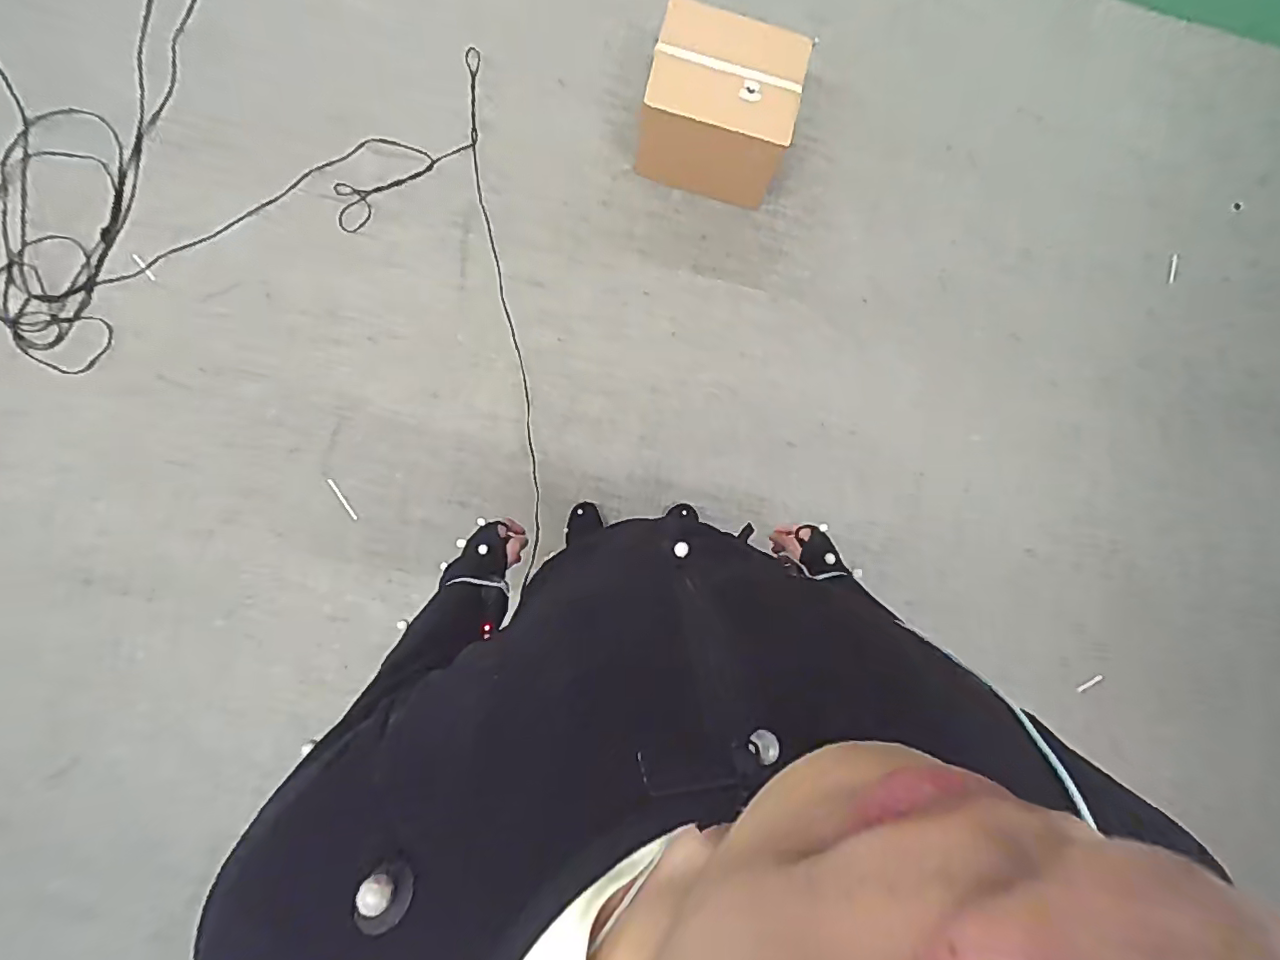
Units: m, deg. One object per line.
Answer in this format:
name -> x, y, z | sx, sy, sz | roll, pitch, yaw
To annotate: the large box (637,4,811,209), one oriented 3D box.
large box -> 0.223, -1.061, 1.578 | 0.408, 0.320, 0.320 | 14, 86, -4
